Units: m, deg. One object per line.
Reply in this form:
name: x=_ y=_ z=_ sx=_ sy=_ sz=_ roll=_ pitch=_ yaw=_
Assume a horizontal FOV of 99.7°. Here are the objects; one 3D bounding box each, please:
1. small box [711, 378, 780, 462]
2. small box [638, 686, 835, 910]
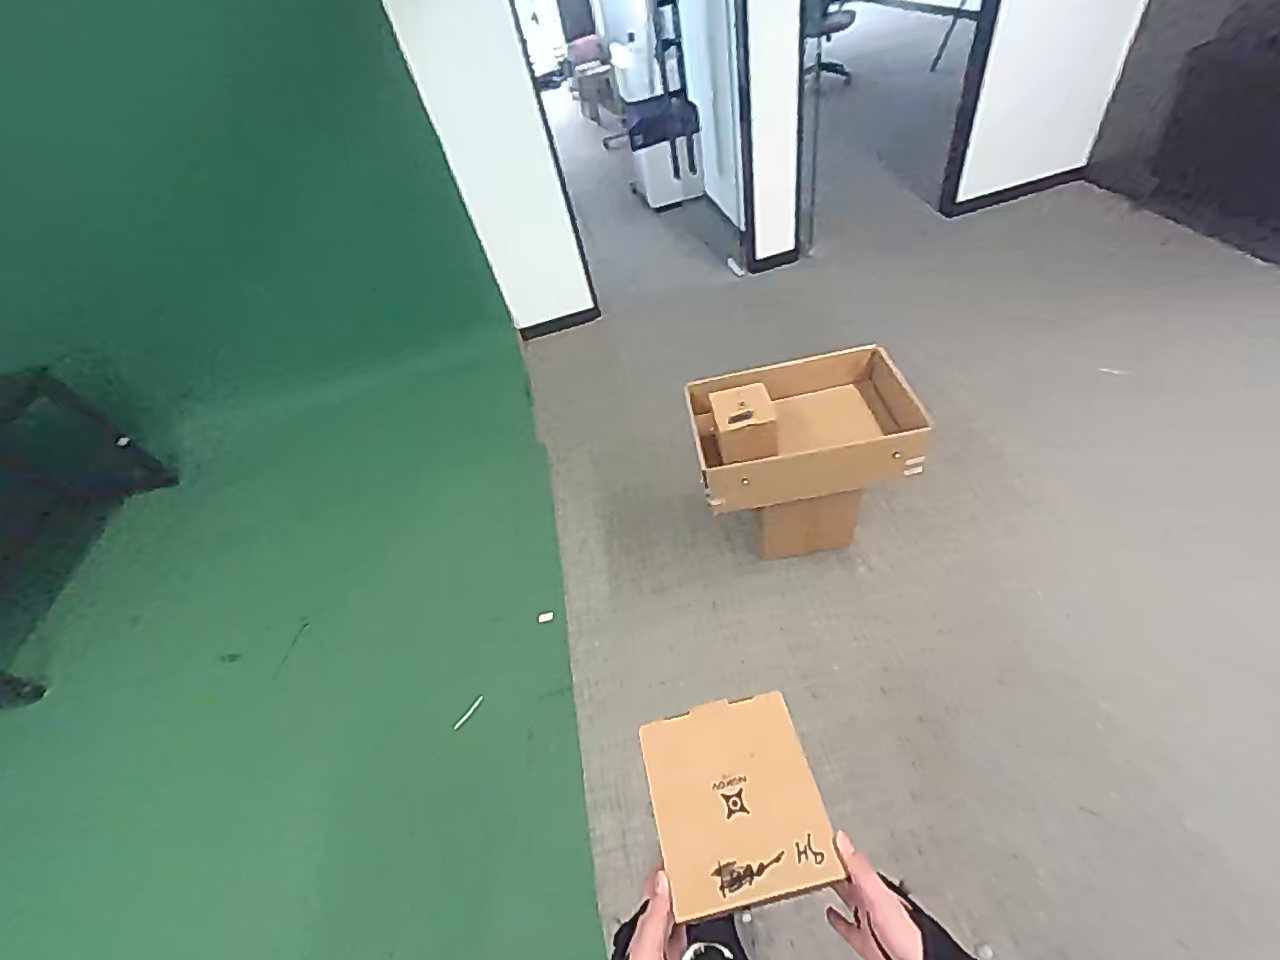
small box: x=0.314 y=-0.172 z=1.608 sx=0.168 sy=0.176 sz=0.179 roll=-12 pitch=47 yaw=5
small box: x=0.101 y=0.365 z=0.617 sx=0.168 sy=0.176 sz=0.179 roll=-14 pitch=50 yaw=1
